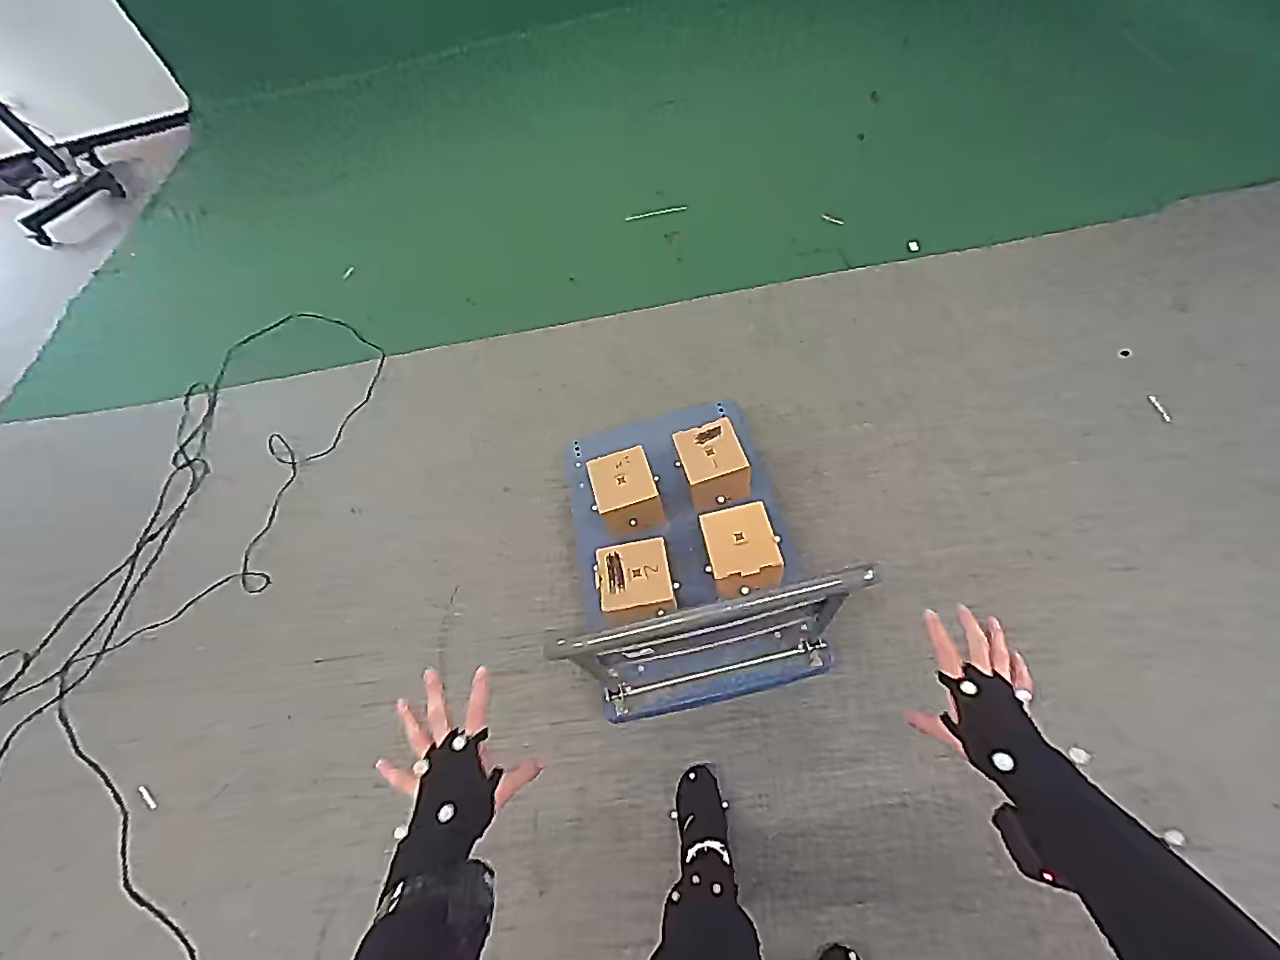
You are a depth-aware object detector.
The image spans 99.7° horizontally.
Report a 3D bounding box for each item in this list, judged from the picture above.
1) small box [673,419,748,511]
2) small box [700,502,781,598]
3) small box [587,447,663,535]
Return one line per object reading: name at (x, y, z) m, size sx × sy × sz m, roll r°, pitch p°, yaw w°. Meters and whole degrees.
small box at (0.202, -0.039, 1.545) m, size 0.168 × 0.176 × 0.179 m, roll -18°, pitch 59°, yaw 1°
small box at (0.256, 0.185, 1.403) m, size 0.168 × 0.176 × 0.179 m, roll -14°, pitch 58°, yaw 2°
small box at (-0.038, 0.039, 1.545) m, size 0.168 × 0.176 × 0.179 m, roll -17°, pitch 58°, yaw -1°
